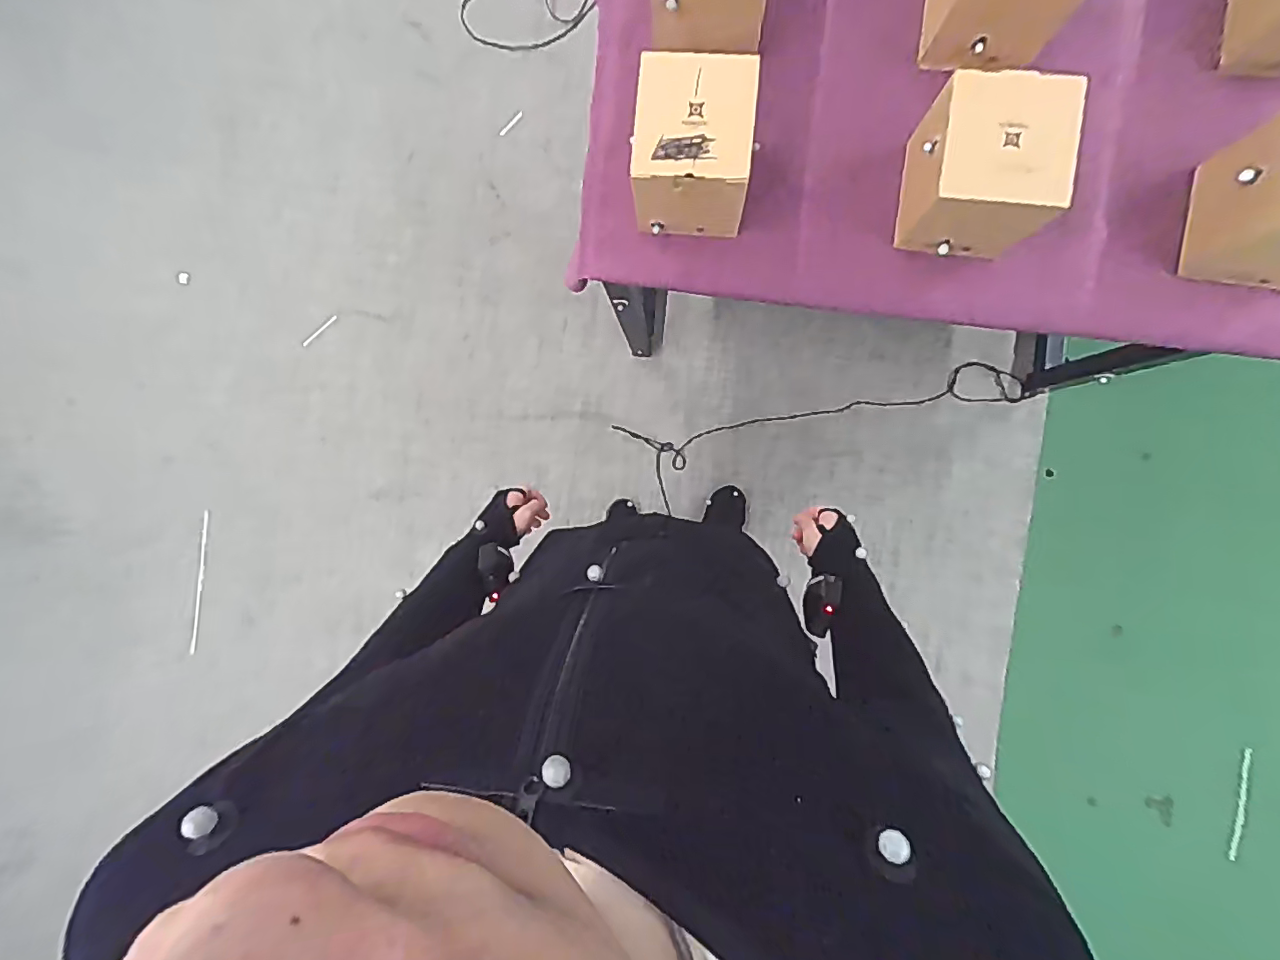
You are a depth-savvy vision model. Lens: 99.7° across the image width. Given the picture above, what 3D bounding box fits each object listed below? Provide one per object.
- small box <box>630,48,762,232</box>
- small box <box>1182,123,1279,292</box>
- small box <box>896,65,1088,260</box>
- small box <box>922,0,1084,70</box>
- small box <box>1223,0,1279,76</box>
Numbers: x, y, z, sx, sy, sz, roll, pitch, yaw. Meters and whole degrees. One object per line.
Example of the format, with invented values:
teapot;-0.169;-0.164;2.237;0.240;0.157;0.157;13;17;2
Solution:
small box;0.081;-0.494;0.809;0.168;0.176;0.179;5;89;4
small box;0.916;-0.386;0.747;0.168;0.176;0.179;10;89;6
small box;0.492;-0.446;0.782;0.168;0.176;0.179;8;90;5
small box;0.531;-0.741;0.778;0.168;0.176;0.179;6;92;4
small box;0.970;-0.699;0.739;0.168;0.176;0.179;7;92;7
